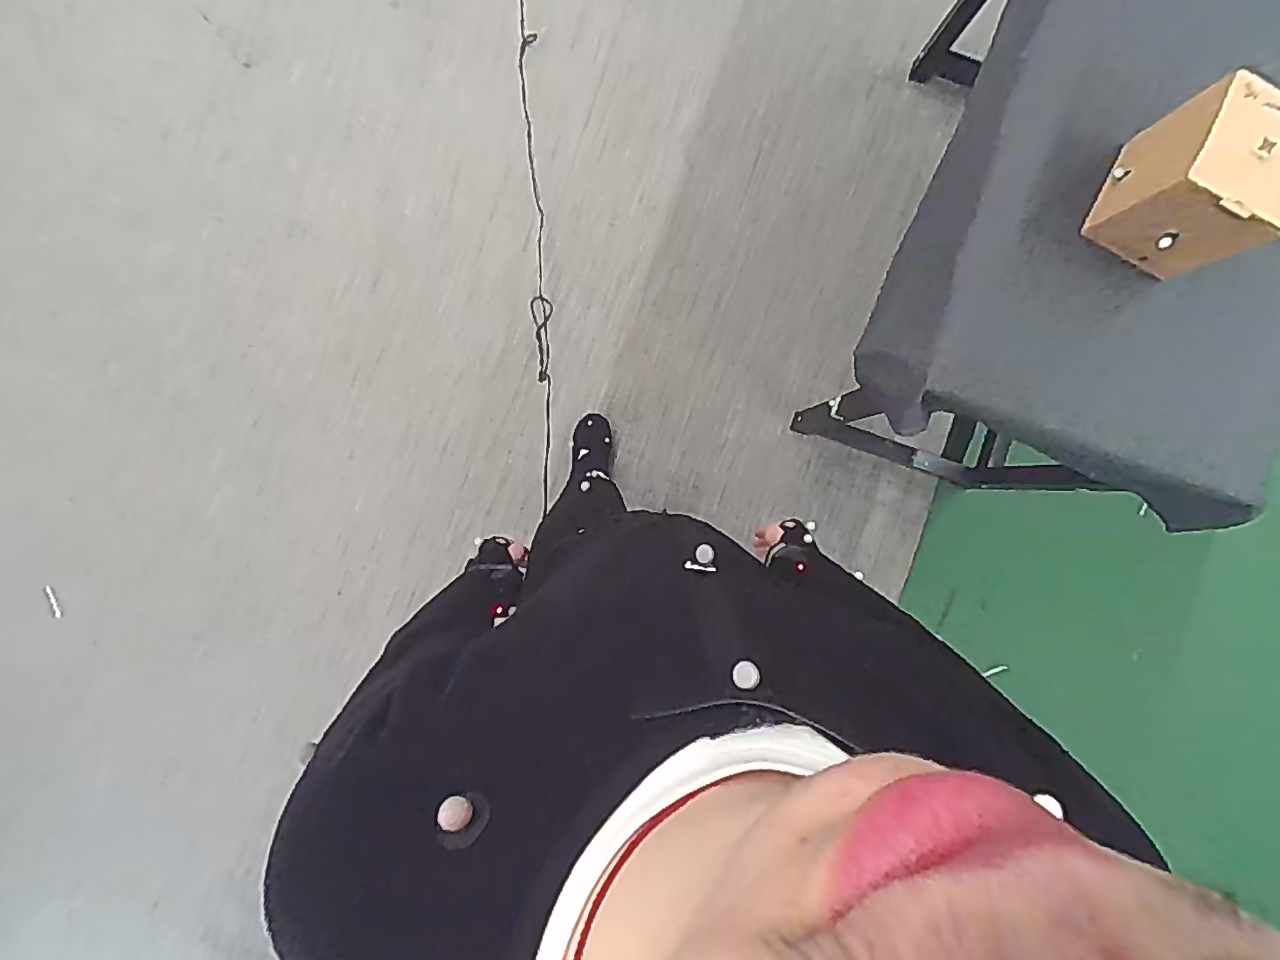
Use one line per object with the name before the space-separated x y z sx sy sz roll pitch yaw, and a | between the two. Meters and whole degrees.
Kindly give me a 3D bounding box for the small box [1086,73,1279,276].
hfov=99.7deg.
small box | 0.836 -0.443 0.818 0.168 0.176 0.179 27 89 -2
